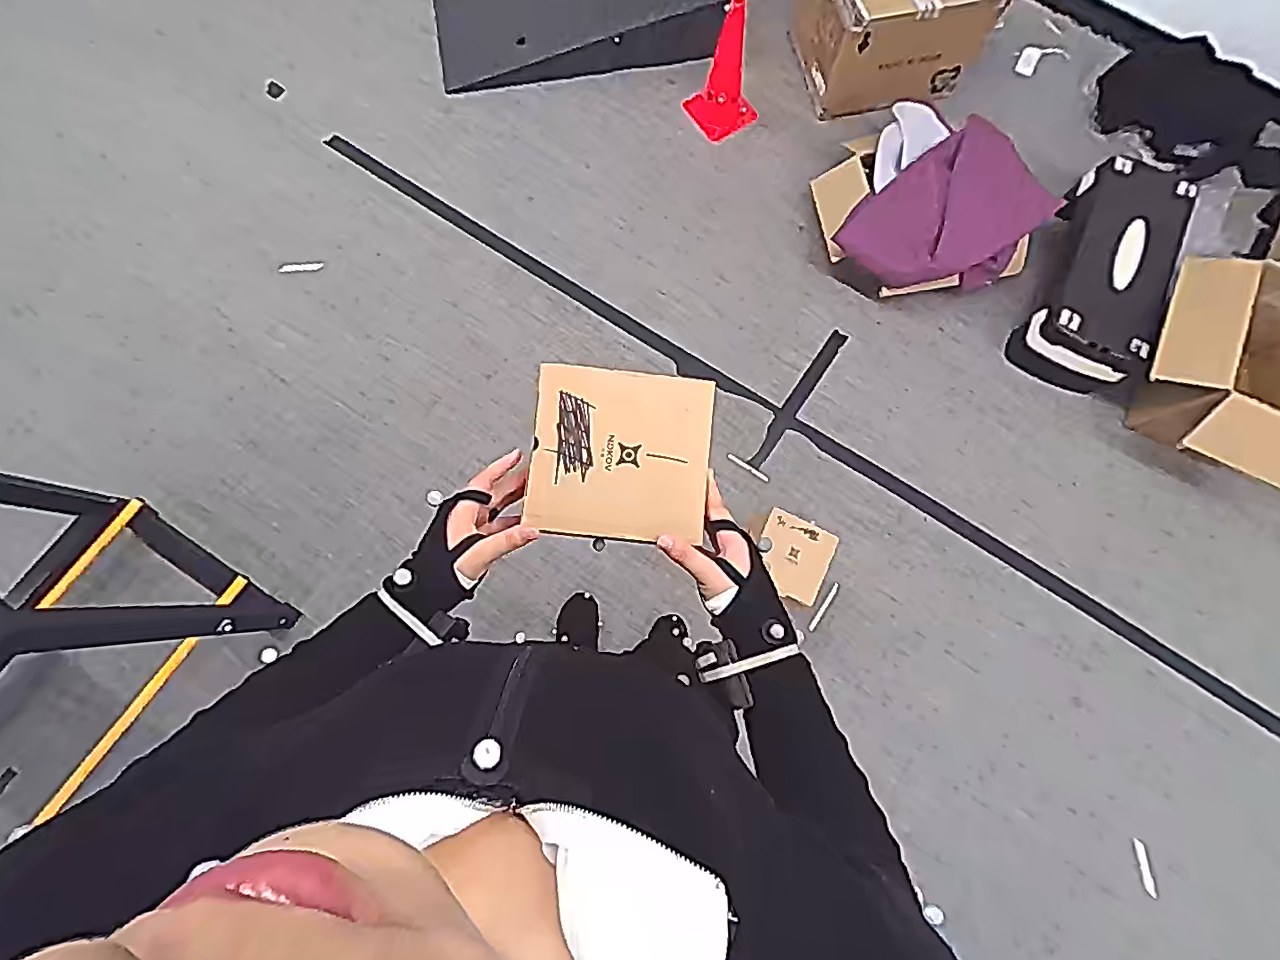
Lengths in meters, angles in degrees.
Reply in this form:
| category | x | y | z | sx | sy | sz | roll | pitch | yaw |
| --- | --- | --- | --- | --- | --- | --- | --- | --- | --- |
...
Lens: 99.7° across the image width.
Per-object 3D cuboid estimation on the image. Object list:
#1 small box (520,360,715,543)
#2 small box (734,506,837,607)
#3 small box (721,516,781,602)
| category | x | y | z | sx | sy | sz | roll | pitch | yaw |
| --- | --- | --- | --- | --- | --- | --- | --- | --- | --- |
| small box | -0.023 | -0.019 | 0.601 | 0.179 | 0.176 | 0.168 | 6 | 83 | -3 |
| small box | 0.336 | 0.186 | 1.287 | 0.168 | 0.176 | 0.179 | 27 | 79 | 4 |
| small box | 0.339 | 0.215 | 1.449 | 0.179 | 0.176 | 0.168 | 28 | 79 | 5 |
